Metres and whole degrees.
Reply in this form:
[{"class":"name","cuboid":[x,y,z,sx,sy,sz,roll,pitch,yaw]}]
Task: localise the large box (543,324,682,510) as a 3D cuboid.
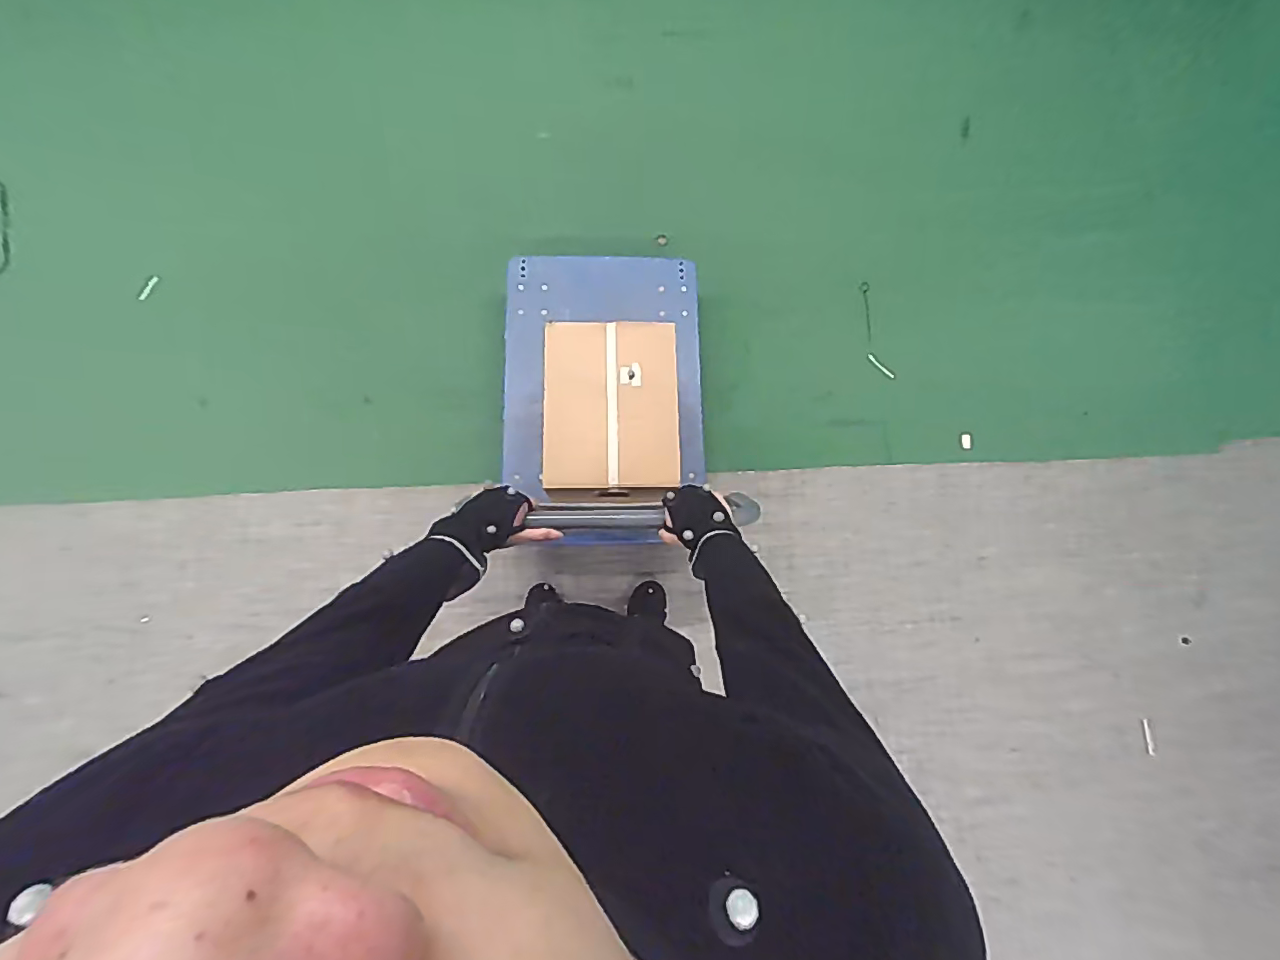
[{"class":"large box","cuboid":[-0.075,-0.146,1.397,0.320,0.320,0.408,-1,78,-4]}]
